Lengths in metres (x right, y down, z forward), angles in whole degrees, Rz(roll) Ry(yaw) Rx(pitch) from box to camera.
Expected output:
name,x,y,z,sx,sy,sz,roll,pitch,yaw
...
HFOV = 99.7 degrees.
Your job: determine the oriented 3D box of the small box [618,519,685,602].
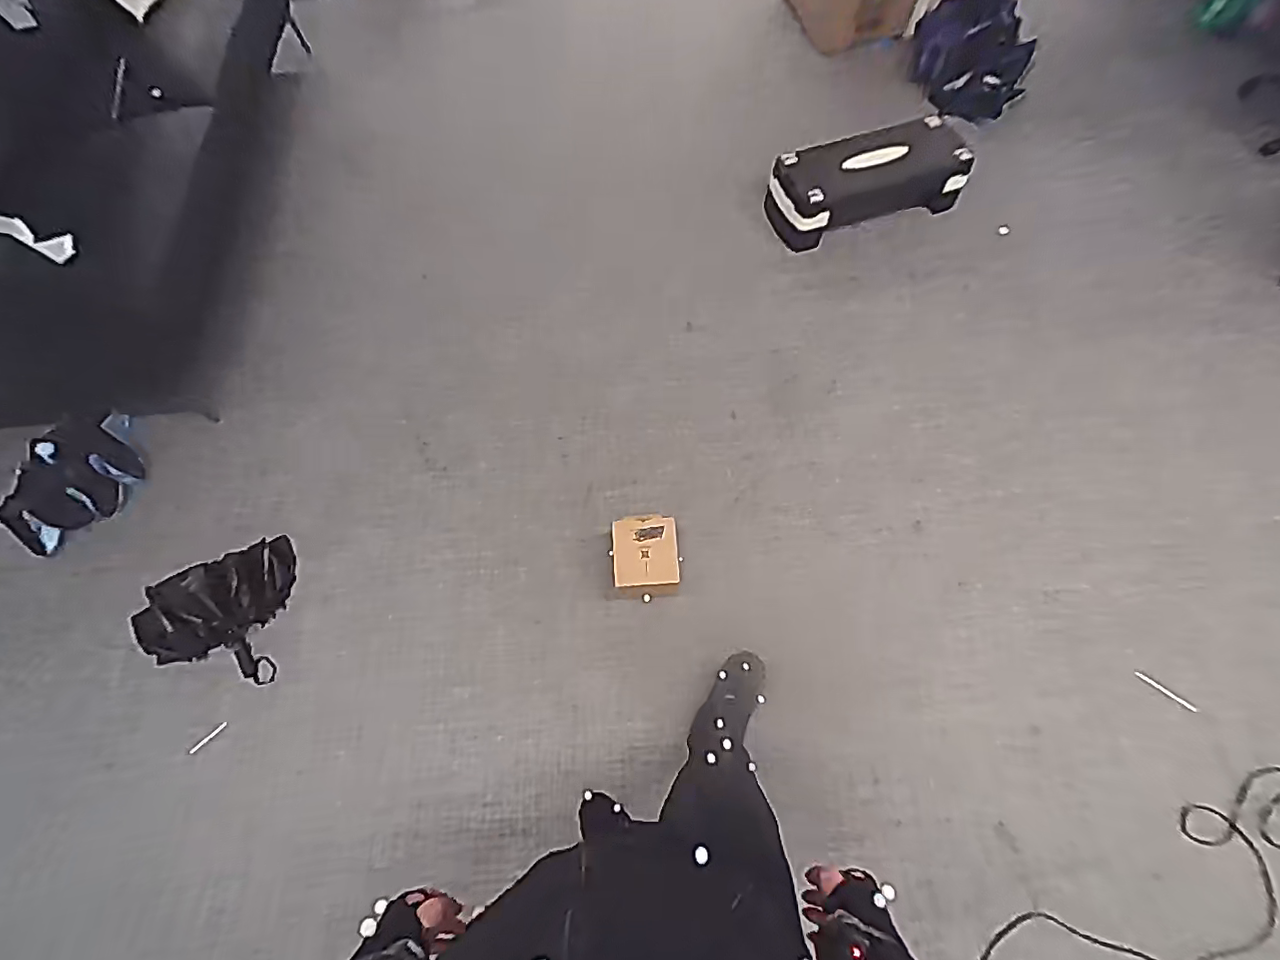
name,x,y,z,sx,sy,sz,roll,pitch,yaw
small box,0.031,0.219,1.447,0.168,0.176,0.179,-5,66,2
